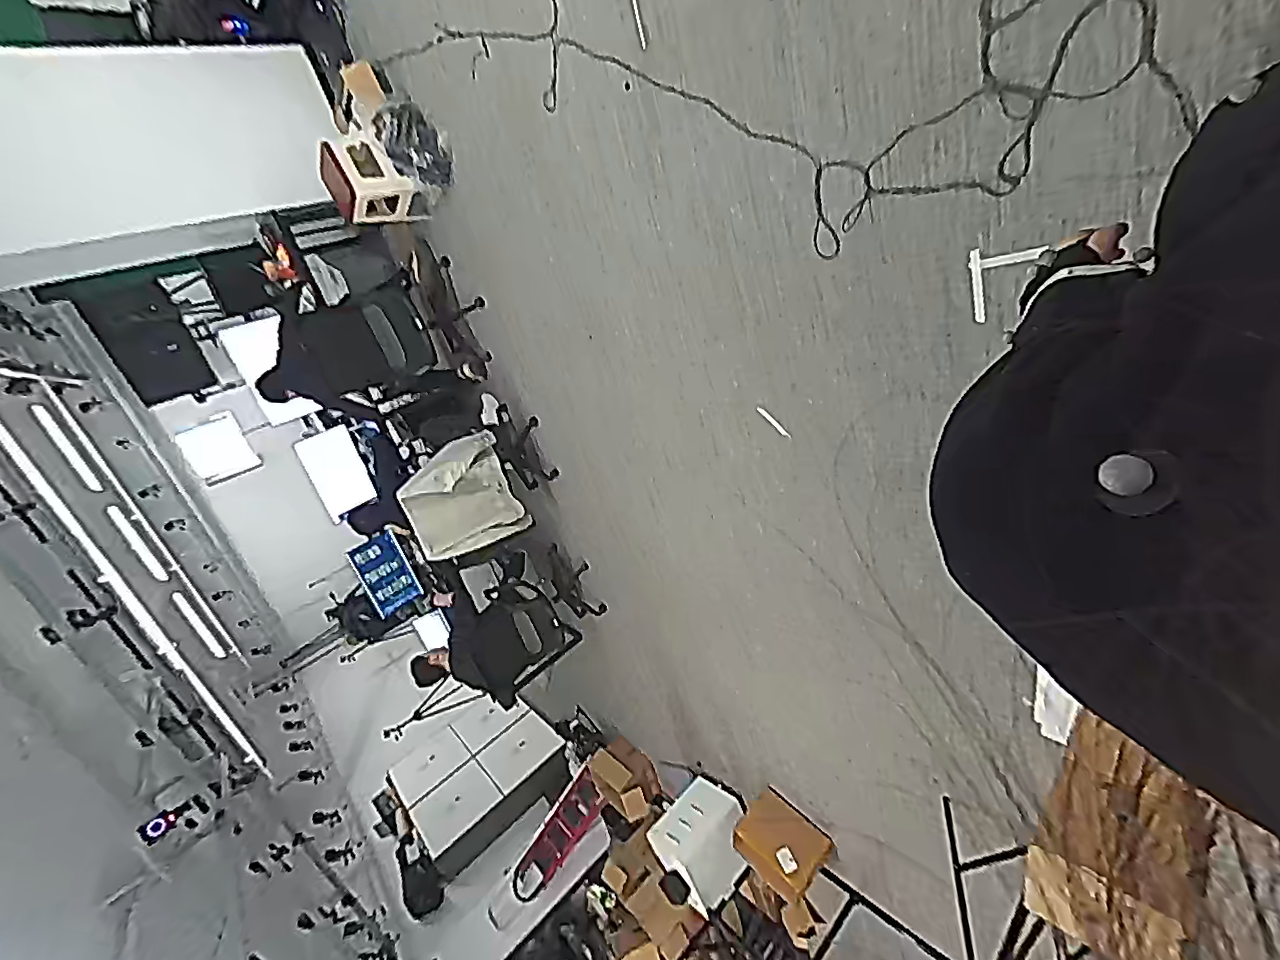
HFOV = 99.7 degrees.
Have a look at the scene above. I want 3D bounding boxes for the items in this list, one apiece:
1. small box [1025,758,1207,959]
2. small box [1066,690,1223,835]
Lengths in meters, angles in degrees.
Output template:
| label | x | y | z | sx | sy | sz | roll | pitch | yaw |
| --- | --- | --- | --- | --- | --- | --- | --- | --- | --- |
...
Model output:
| label | x | y | z | sx | sy | sz | roll | pitch | yaw |
| --- | --- | --- | --- | --- | --- | --- | --- | --- | --- |
| small box | 0.690 | 0.559 | 0.790 | 0.168 | 0.176 | 0.179 | 14 | 127 | 48 |
| small box | 0.807 | 0.481 | 0.877 | 0.168 | 0.176 | 0.179 | 14 | 128 | 48 |
